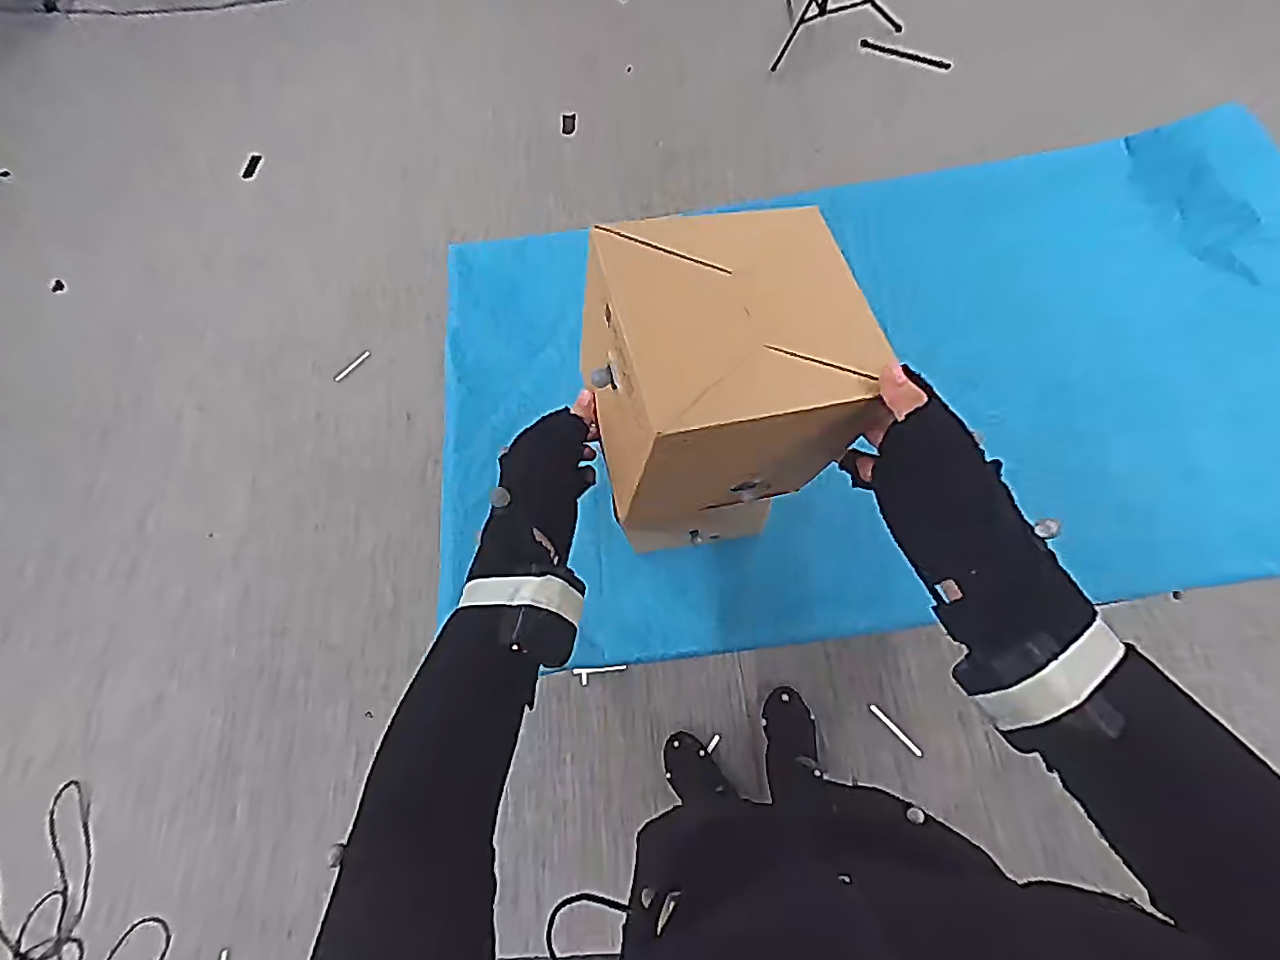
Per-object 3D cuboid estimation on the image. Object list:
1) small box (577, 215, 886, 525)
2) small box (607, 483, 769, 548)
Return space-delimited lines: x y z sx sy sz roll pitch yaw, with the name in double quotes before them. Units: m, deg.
"small box" 0.054 -0.081 0.428 0.179 0.176 0.168 -11 69 -13
"small box" 0.054 -0.025 0.646 0.168 0.176 0.179 -7 72 7
